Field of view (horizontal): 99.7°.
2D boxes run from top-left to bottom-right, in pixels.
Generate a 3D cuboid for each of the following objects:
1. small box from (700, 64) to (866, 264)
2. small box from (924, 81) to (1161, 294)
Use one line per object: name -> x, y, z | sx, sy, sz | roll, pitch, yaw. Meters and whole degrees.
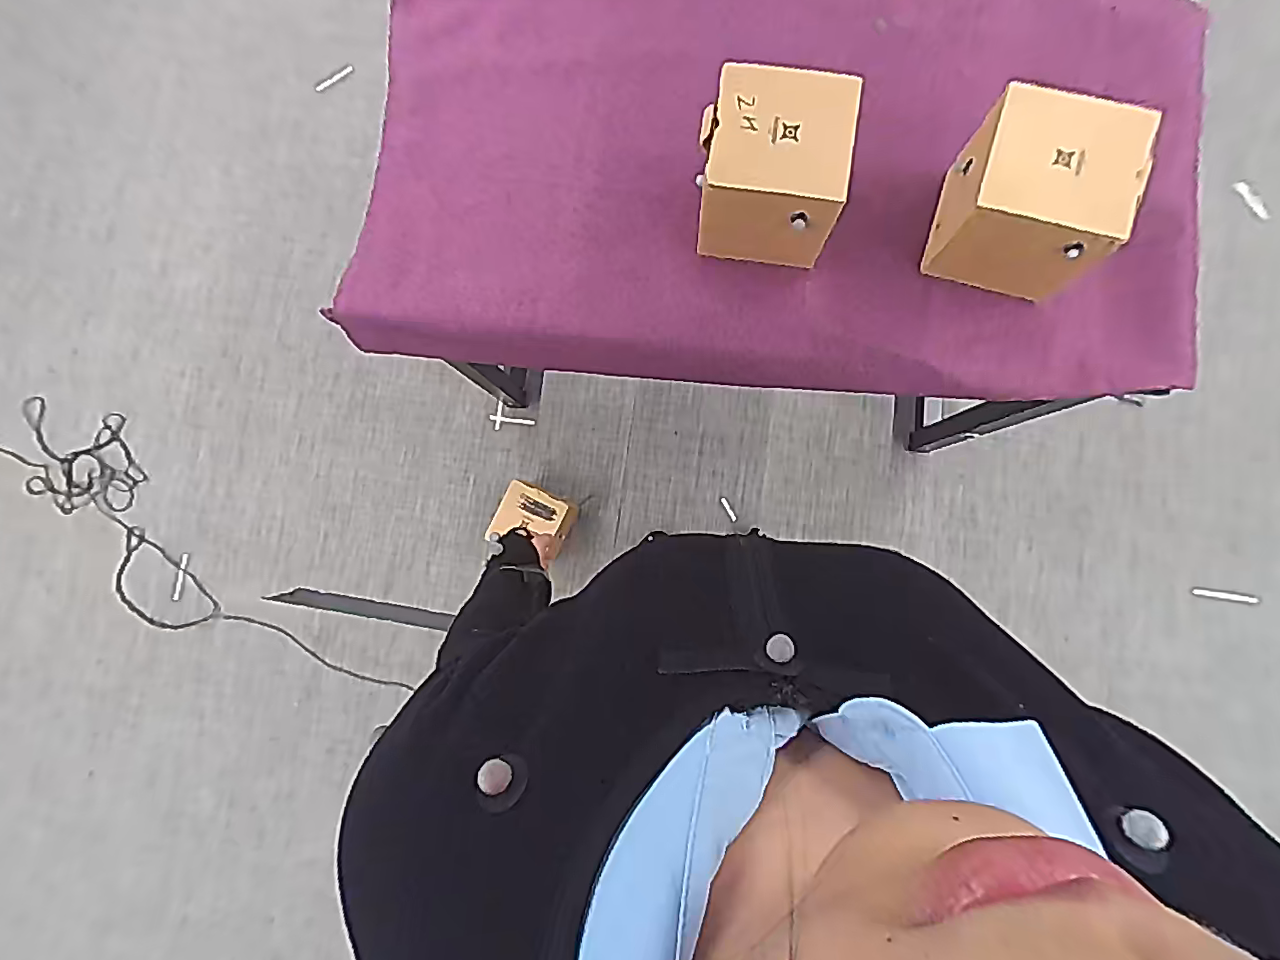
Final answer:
small box -> 0.183, -0.418, 0.741 | 0.179, 0.176, 0.168 | 9, 84, 5
small box -> 0.509, -0.369, 0.712 | 0.179, 0.176, 0.168 | 17, 86, 6
